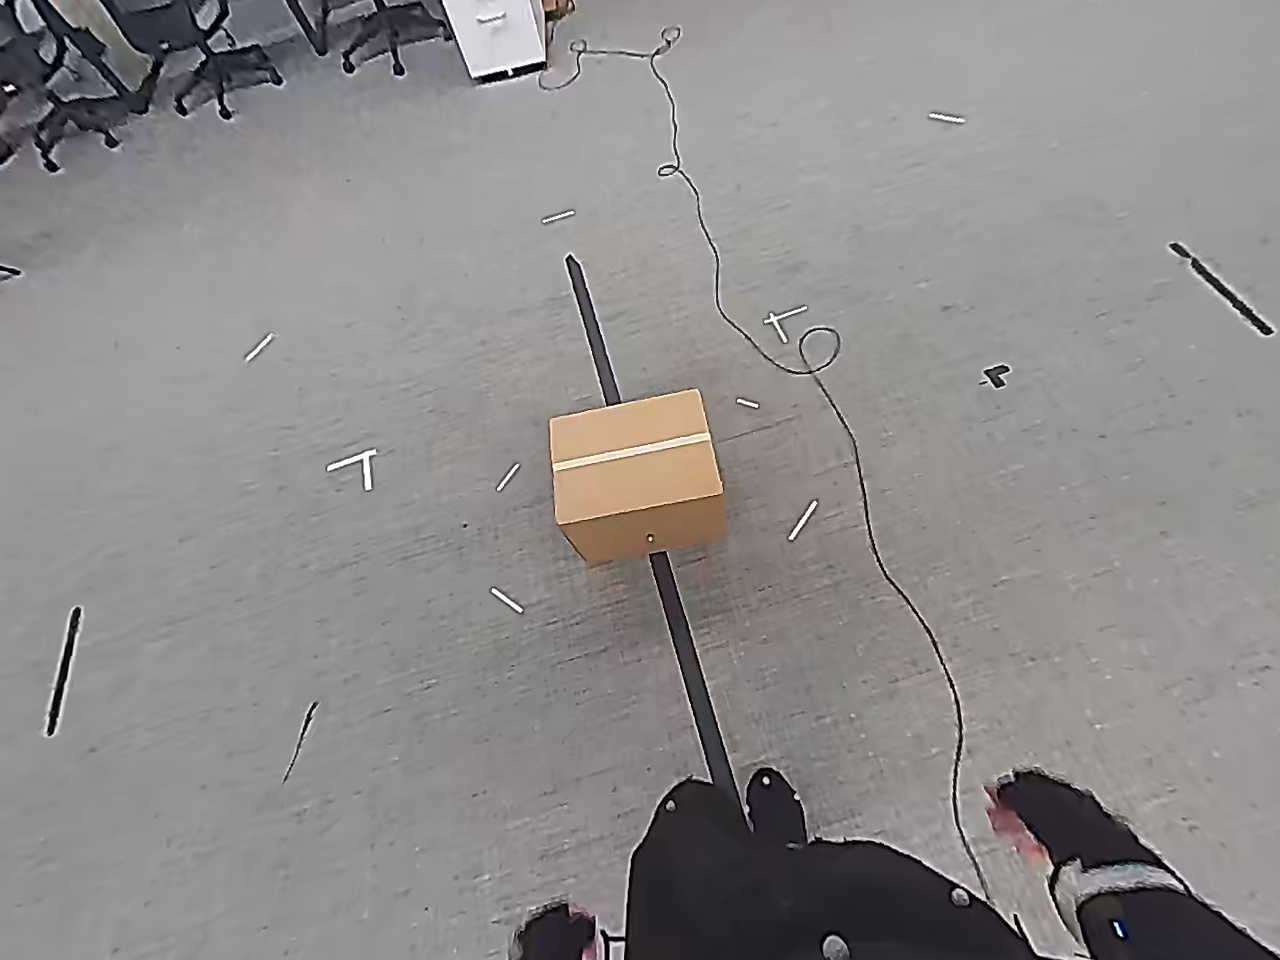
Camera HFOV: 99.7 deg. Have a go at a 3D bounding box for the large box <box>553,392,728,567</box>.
[{"bbox_3d":[0.008,0.013,1.469,0.408,0.320,0.320,-11,62,4],"label":"large box"}]
